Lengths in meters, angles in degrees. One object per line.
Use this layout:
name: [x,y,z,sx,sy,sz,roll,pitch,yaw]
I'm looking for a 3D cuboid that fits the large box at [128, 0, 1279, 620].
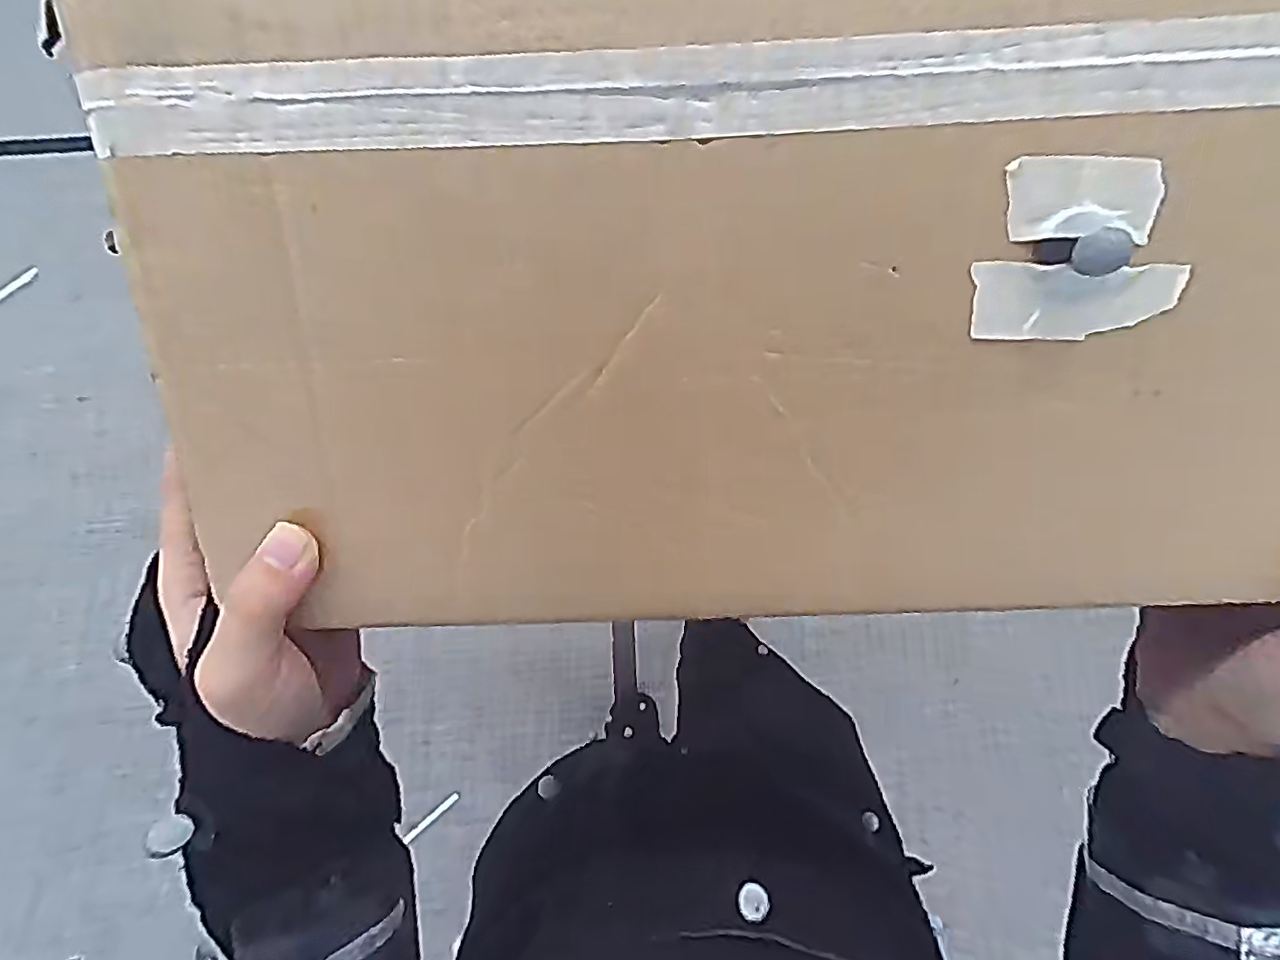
large box: [0.052,-0.143,0.305,0.408,0.320,0.320,-3,104,0]
